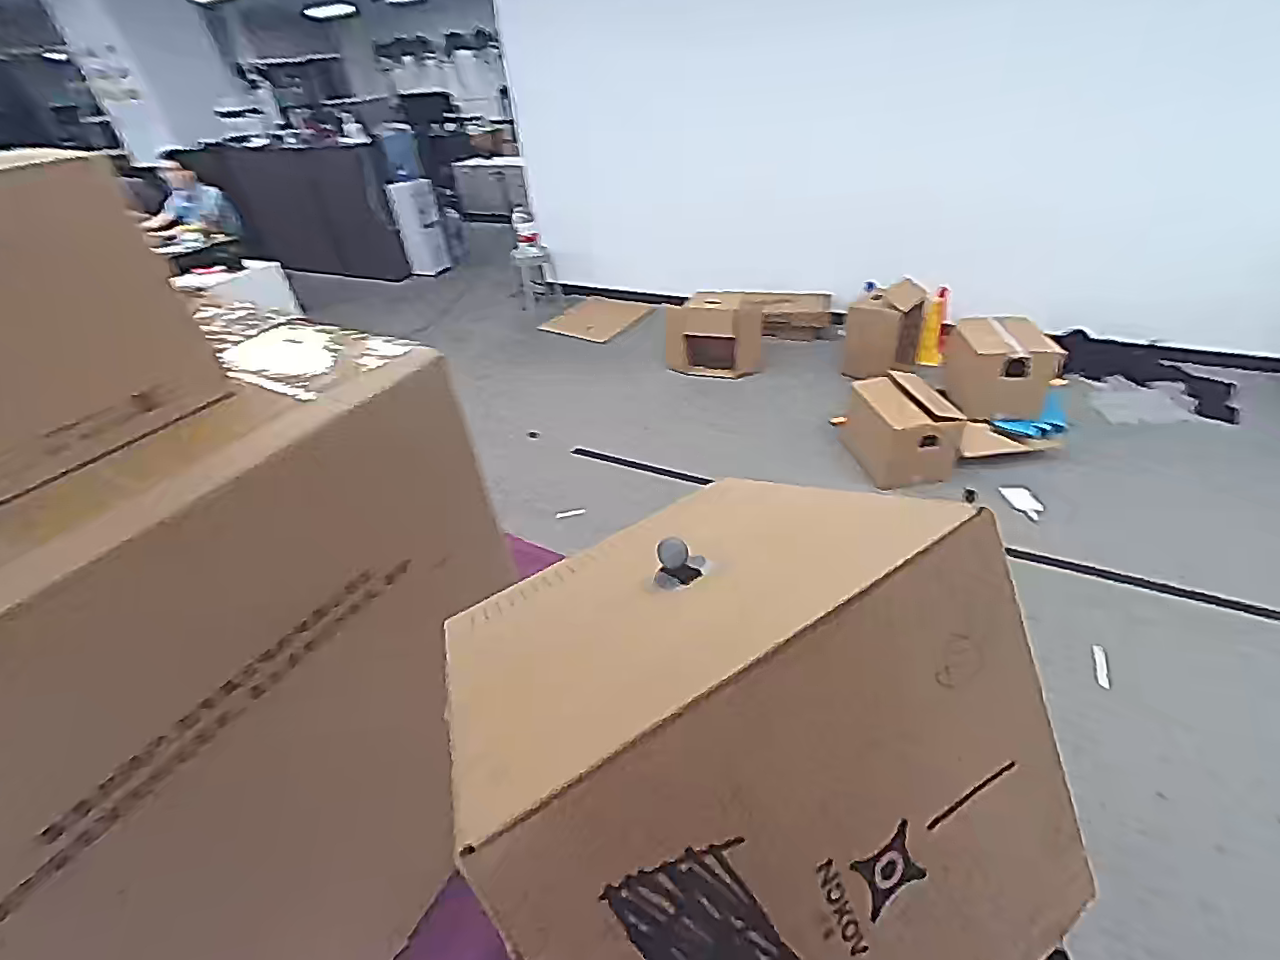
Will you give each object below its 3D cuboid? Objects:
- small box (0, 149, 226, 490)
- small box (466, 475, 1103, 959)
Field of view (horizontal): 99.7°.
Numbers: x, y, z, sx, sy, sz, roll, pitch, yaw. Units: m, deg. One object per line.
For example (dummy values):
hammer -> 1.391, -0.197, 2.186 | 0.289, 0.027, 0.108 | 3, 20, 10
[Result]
small box -> -0.444, -0.112, 0.367 | 0.179, 0.176, 0.168 | 15, 44, 25
small box -> 0.039, 0.107, 0.234 | 0.179, 0.168, 0.176 | -26, 12, -18
